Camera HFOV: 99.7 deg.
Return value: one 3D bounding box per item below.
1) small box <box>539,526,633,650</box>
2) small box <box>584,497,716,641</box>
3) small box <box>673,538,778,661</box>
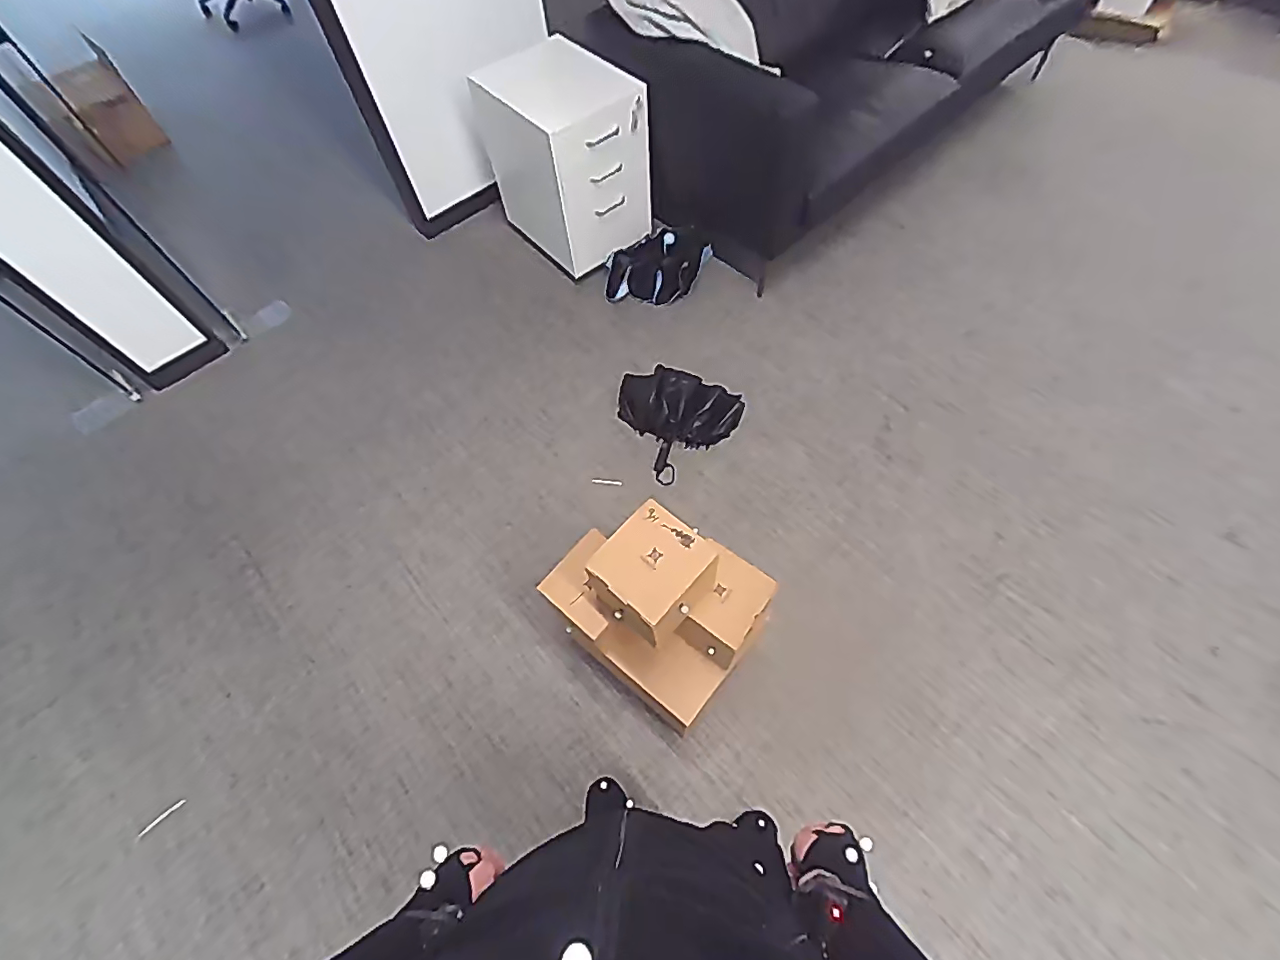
[{"bbox_3d":[-0.085,0.237,1.166,0.168,0.176,0.179,37,72,22],"label":"small box"},{"bbox_3d":[0.025,0.172,1.005,0.168,0.176,0.179,38,71,22],"label":"small box"},{"bbox_3d":[0.163,0.259,1.138,0.179,0.176,0.168,32,65,21],"label":"small box"}]
